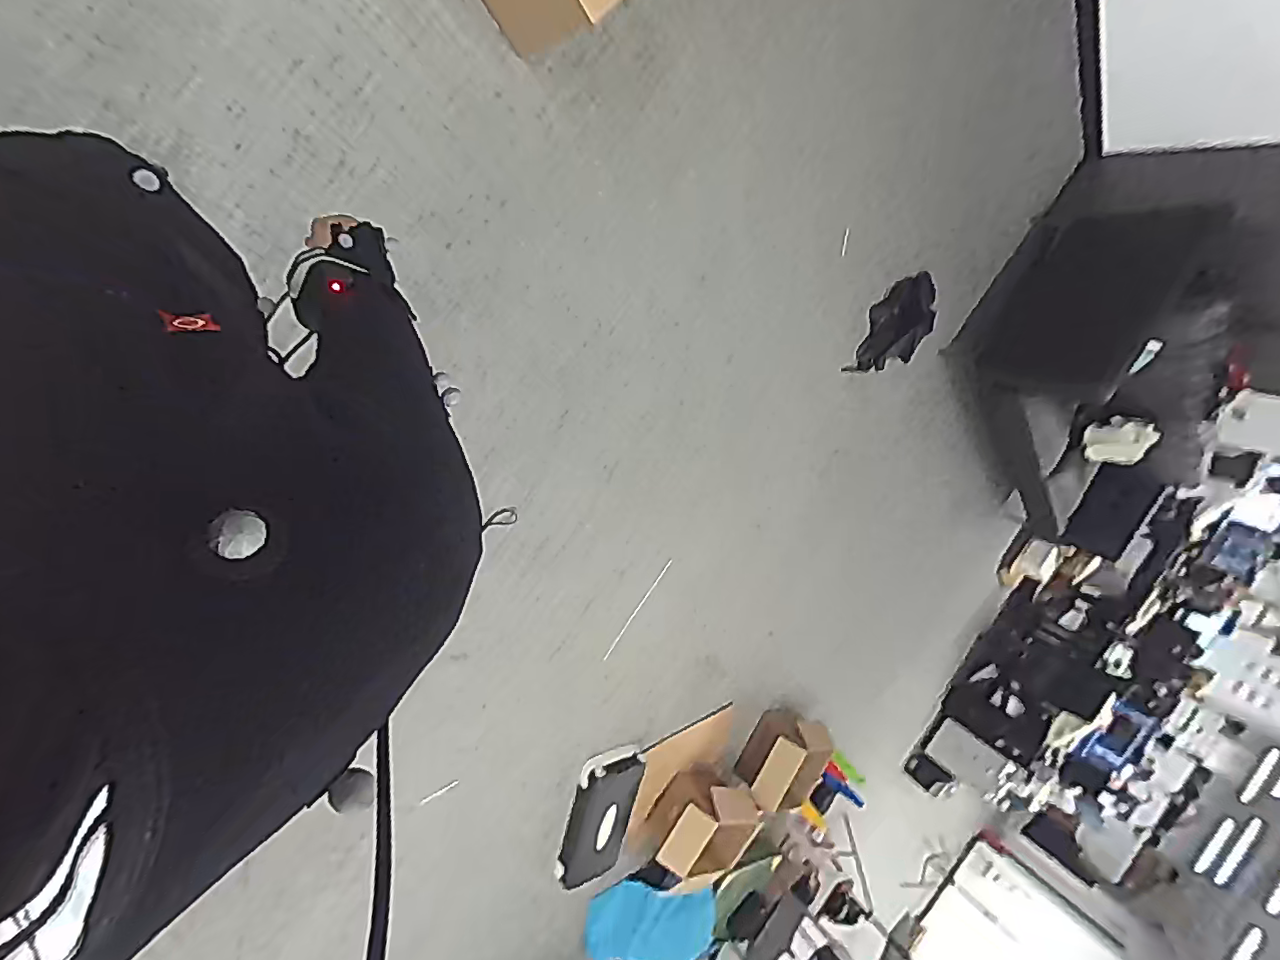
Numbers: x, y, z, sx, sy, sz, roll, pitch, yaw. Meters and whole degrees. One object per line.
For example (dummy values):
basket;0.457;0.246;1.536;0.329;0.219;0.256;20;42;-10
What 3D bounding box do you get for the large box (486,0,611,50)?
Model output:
large box;-0.187;-1.084;0.940;0.320;0.320;0.408;-51;134;-4
